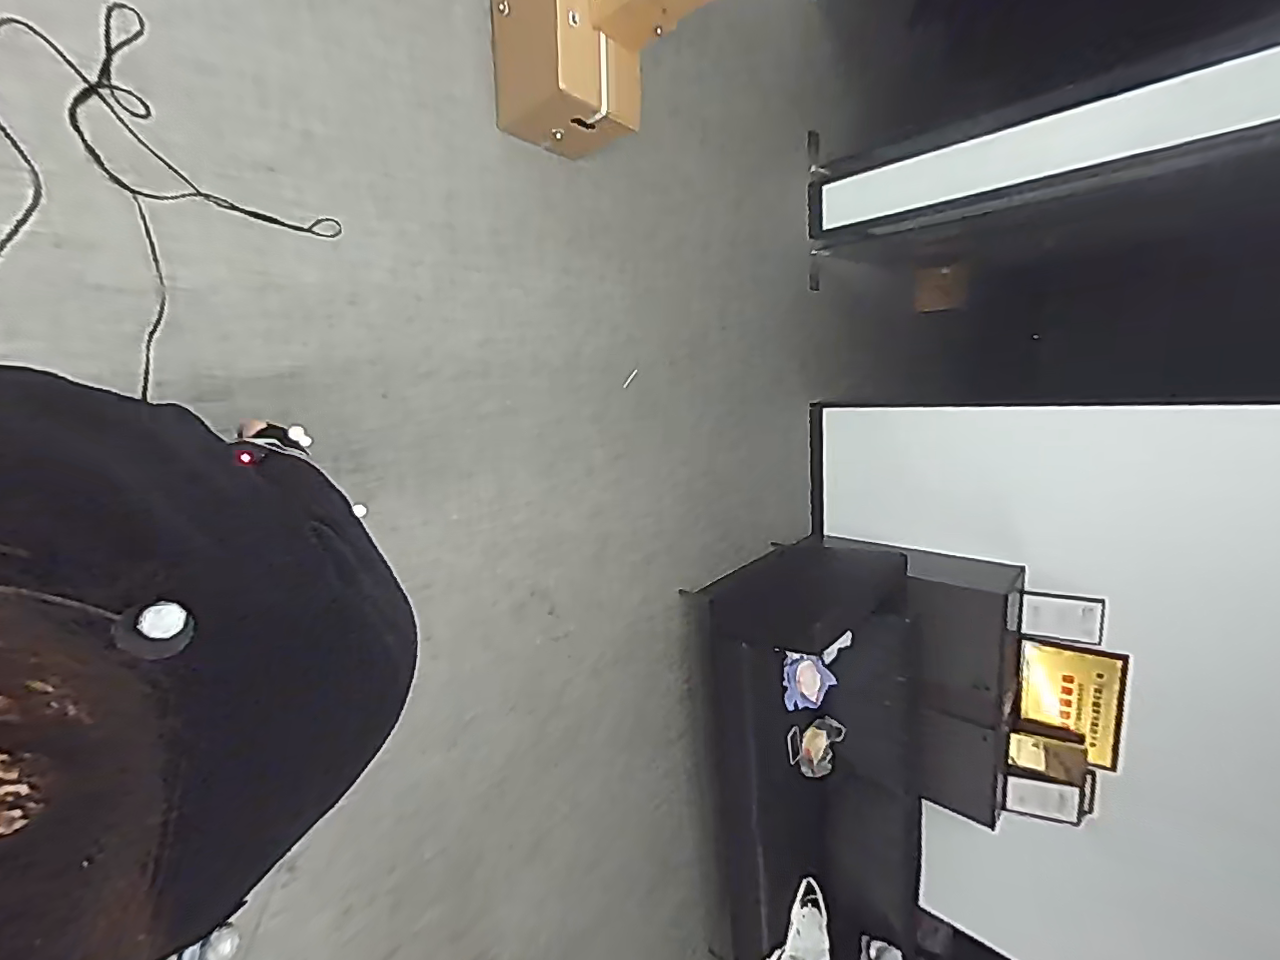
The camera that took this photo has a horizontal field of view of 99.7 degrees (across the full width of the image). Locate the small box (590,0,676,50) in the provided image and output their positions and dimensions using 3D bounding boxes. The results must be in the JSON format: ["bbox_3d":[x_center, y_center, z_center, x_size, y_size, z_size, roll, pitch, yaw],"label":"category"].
[{"bbox_3d":[-0.022,-1.317,1.462,0.179,0.176,0.168,-9,102,-47],"label":"small box"}]
